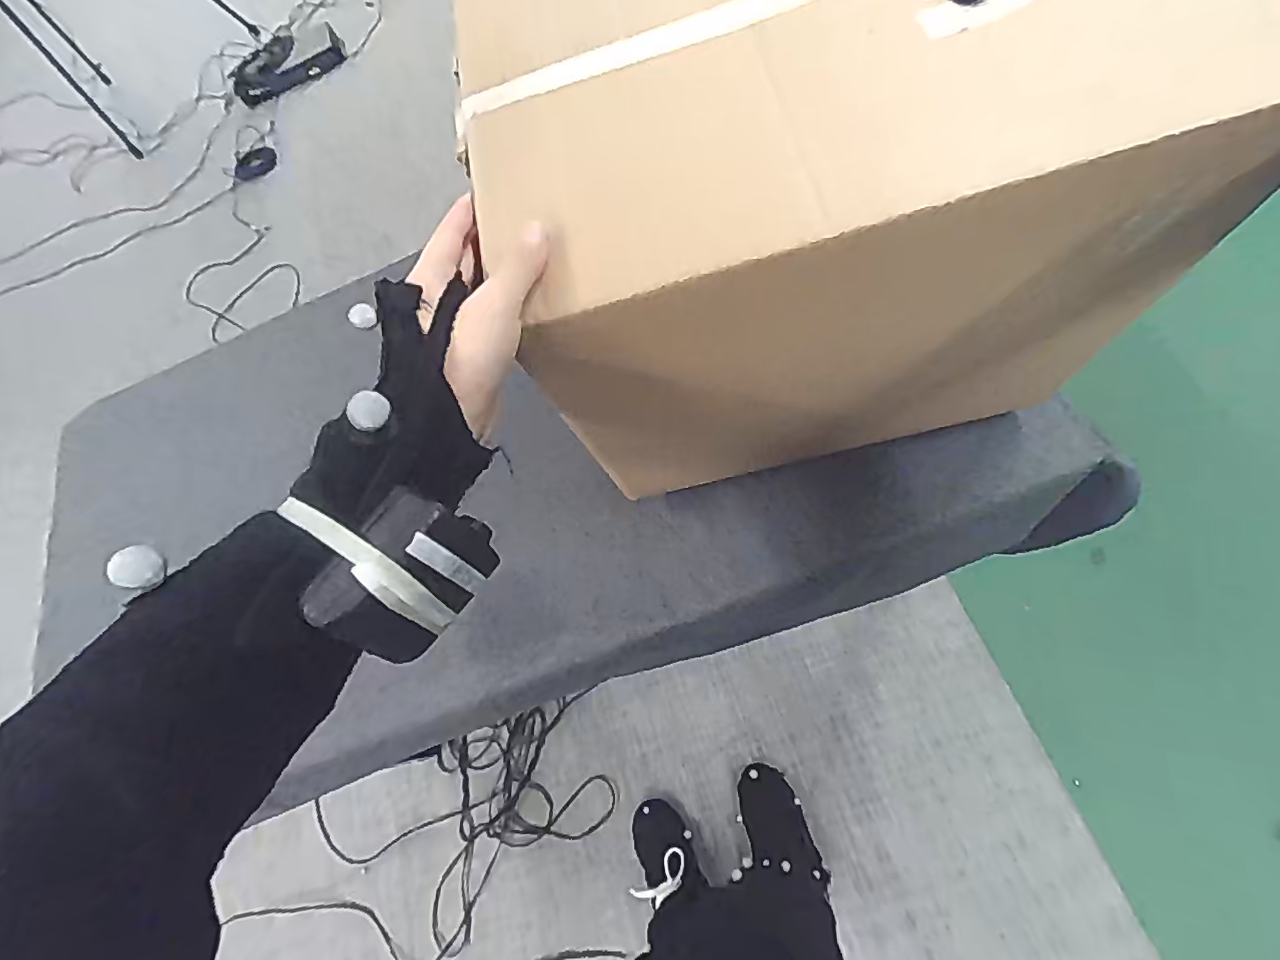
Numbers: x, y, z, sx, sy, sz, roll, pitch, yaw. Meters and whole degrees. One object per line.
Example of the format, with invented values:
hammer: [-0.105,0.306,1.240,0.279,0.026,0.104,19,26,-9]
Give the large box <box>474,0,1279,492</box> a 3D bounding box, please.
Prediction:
large box: [0.127,-0.218,0.442,0.408,0.320,0.320,-14,70,6]
